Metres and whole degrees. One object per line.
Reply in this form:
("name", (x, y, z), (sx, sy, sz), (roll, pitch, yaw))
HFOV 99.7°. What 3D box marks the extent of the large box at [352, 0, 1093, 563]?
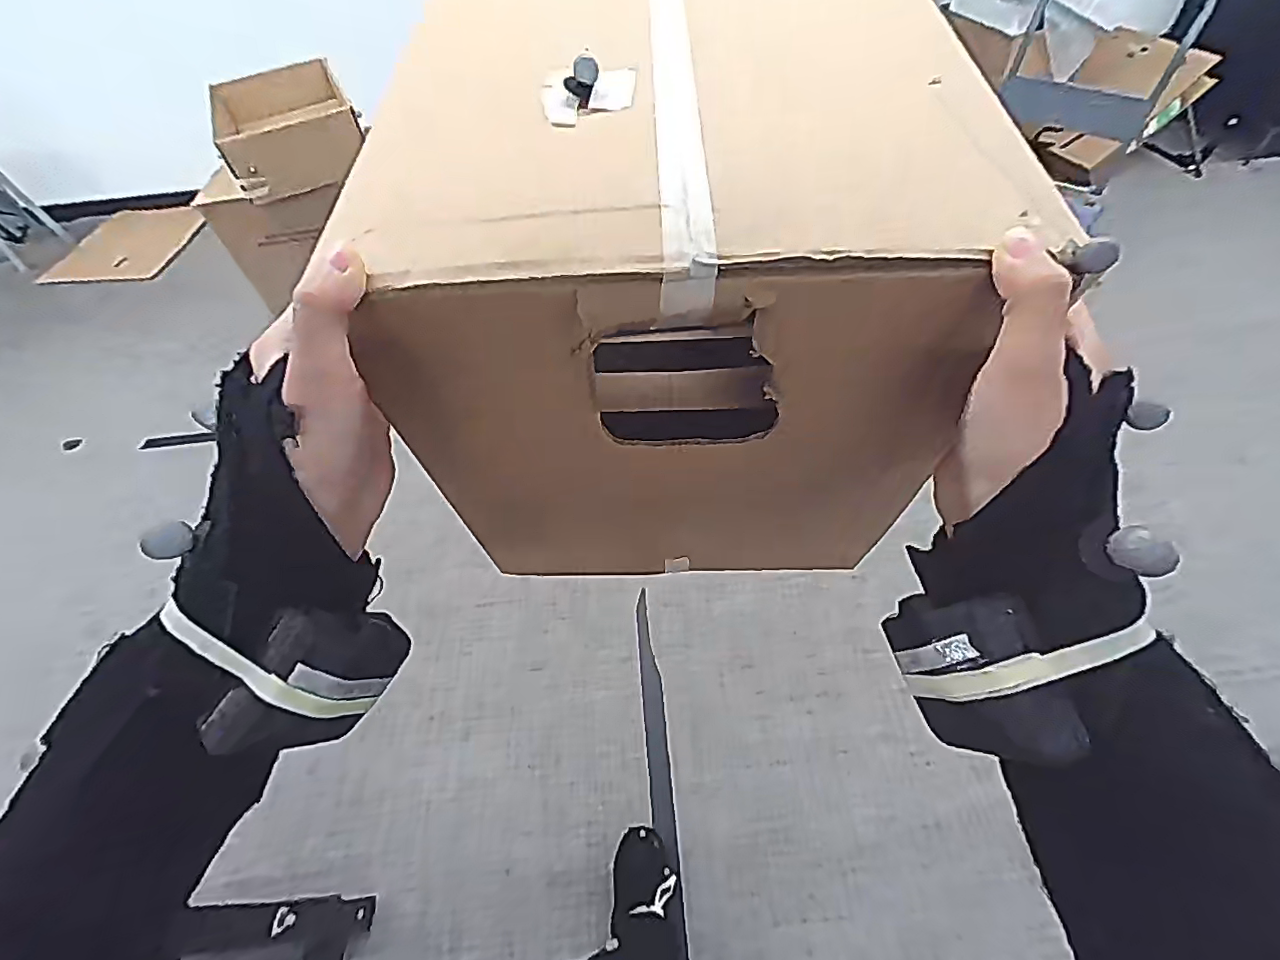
("large box", (0.030, -0.176, 0.446), (0.320, 0.320, 0.408), (-3, 60, 2))
